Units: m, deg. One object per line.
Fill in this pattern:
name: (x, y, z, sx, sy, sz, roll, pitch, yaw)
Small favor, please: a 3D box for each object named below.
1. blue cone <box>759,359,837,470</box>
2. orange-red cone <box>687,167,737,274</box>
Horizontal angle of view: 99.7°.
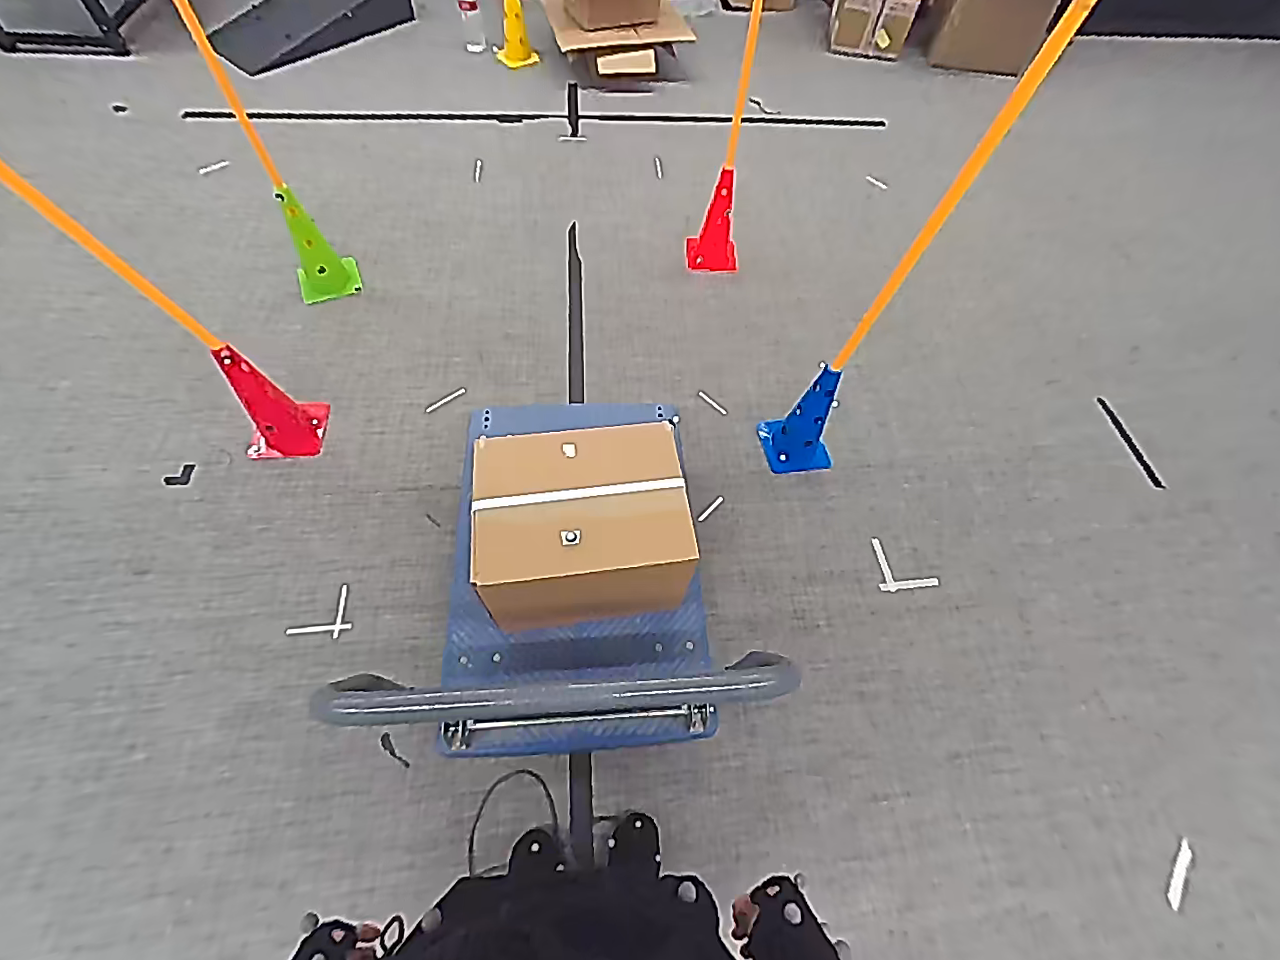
blue cone: (0.498, -0.201, 1.584, 0.193, 0.380, 0.192, -6, 59, -8)
orange-red cone: (0.297, -0.980, 2.012, 0.199, 0.360, 0.198, 4, 60, -3)
